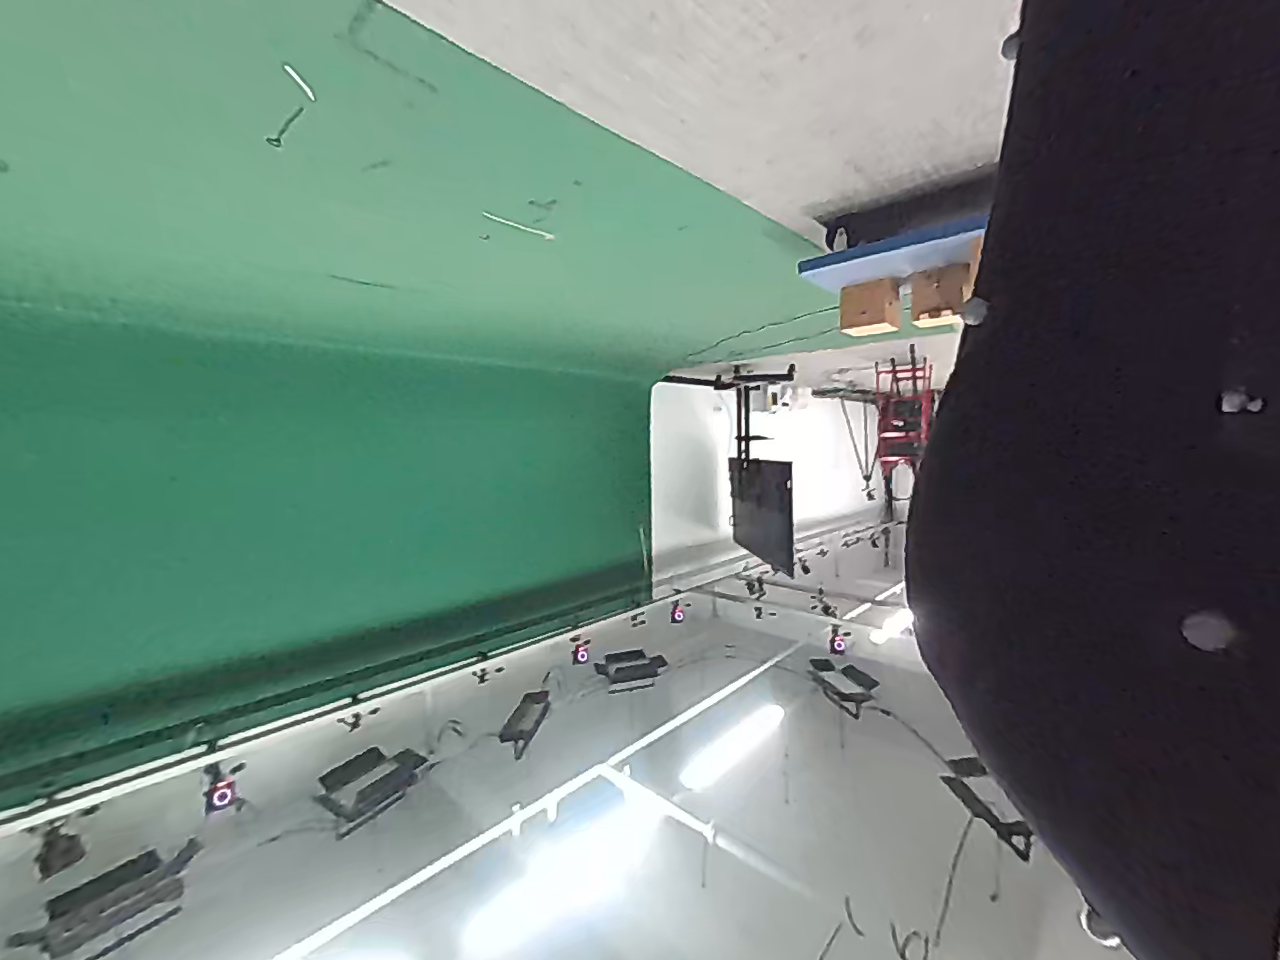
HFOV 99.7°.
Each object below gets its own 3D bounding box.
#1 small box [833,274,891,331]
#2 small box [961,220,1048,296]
[{"bbox_3d":[0.866,-0.692,2.112,0.179,0.176,0.168,2,-176,41],"label":"small box"},{"bbox_3d":[1.093,-0.668,1.630,0.179,0.176,0.168,-1,-178,12],"label":"small box"}]
